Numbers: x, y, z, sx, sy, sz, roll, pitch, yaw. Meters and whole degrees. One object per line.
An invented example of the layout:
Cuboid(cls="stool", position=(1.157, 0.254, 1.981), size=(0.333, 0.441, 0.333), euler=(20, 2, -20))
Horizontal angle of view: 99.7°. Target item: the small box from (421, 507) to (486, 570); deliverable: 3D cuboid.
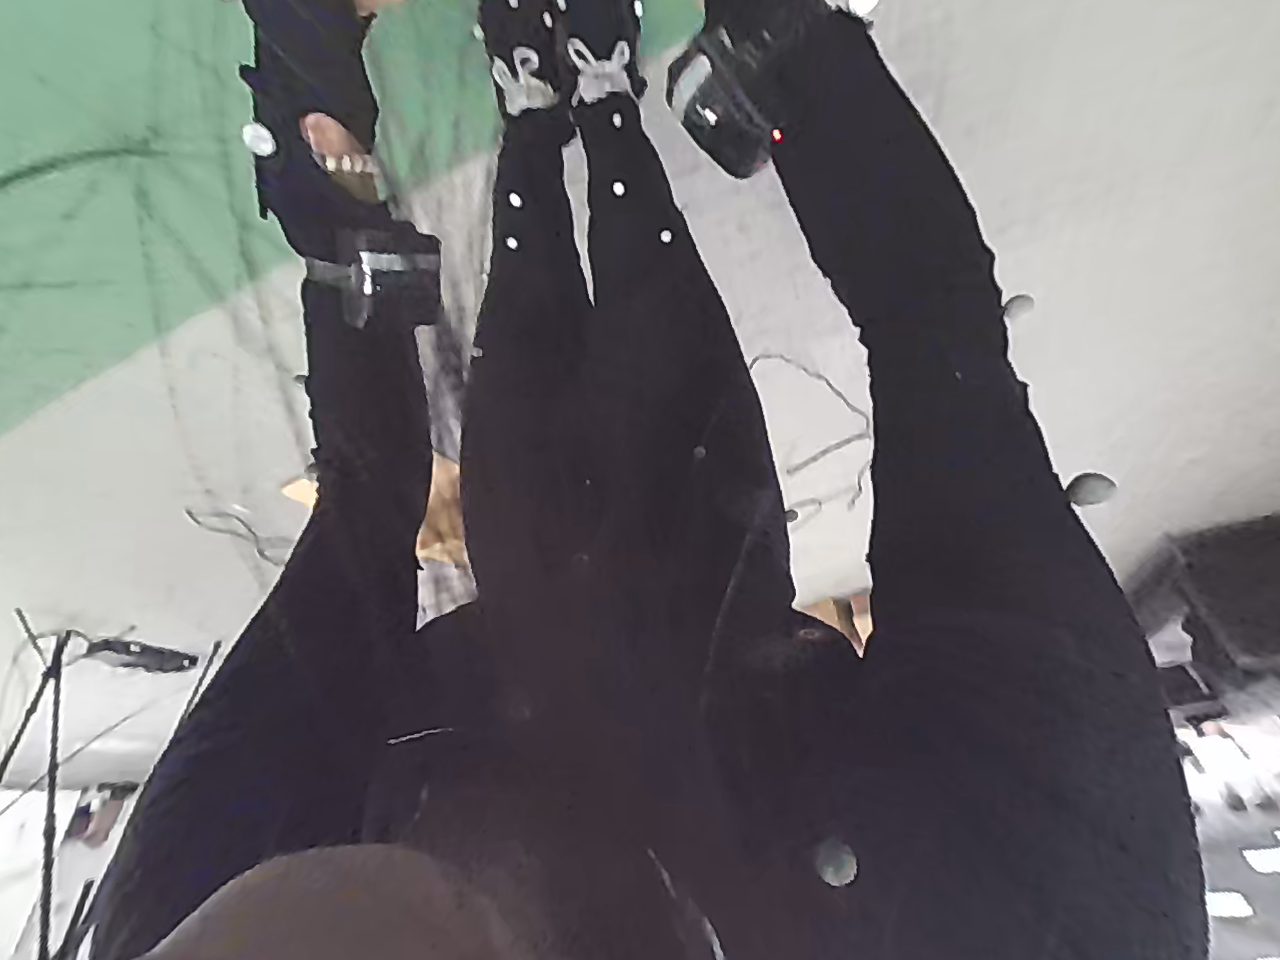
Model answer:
Cuboid(cls="small box", position=(-0.713, 0.225, 2.076), size=(0.179, 0.176, 0.168), euler=(-23, 144, 24))
